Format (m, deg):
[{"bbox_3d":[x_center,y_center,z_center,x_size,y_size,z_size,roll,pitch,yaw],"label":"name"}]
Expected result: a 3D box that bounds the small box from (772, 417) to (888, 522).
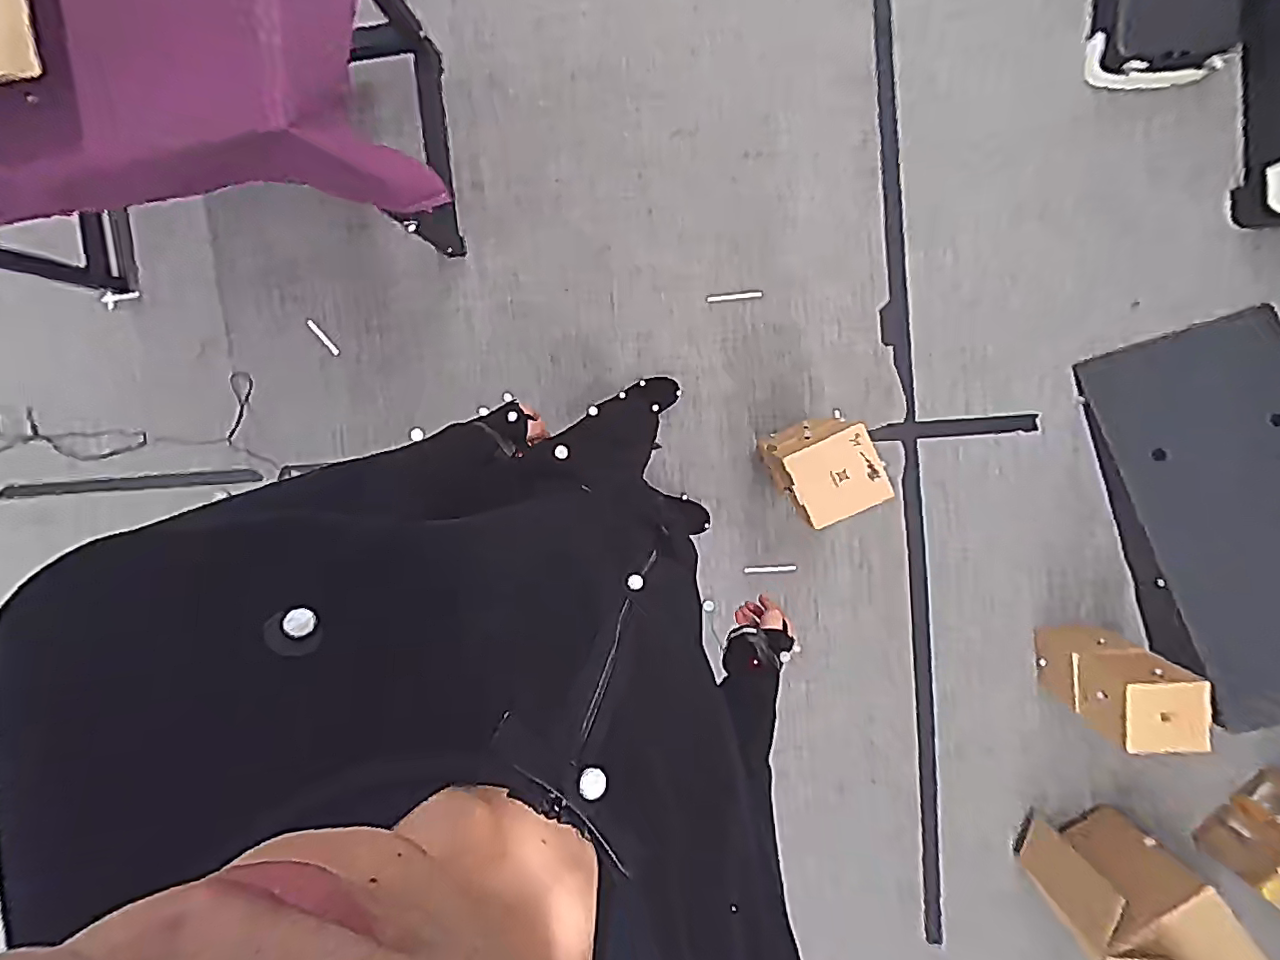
[{"bbox_3d":[0.399,-0.027,1.173,0.179,0.176,0.168,-25,94,8],"label":"small box"}]
